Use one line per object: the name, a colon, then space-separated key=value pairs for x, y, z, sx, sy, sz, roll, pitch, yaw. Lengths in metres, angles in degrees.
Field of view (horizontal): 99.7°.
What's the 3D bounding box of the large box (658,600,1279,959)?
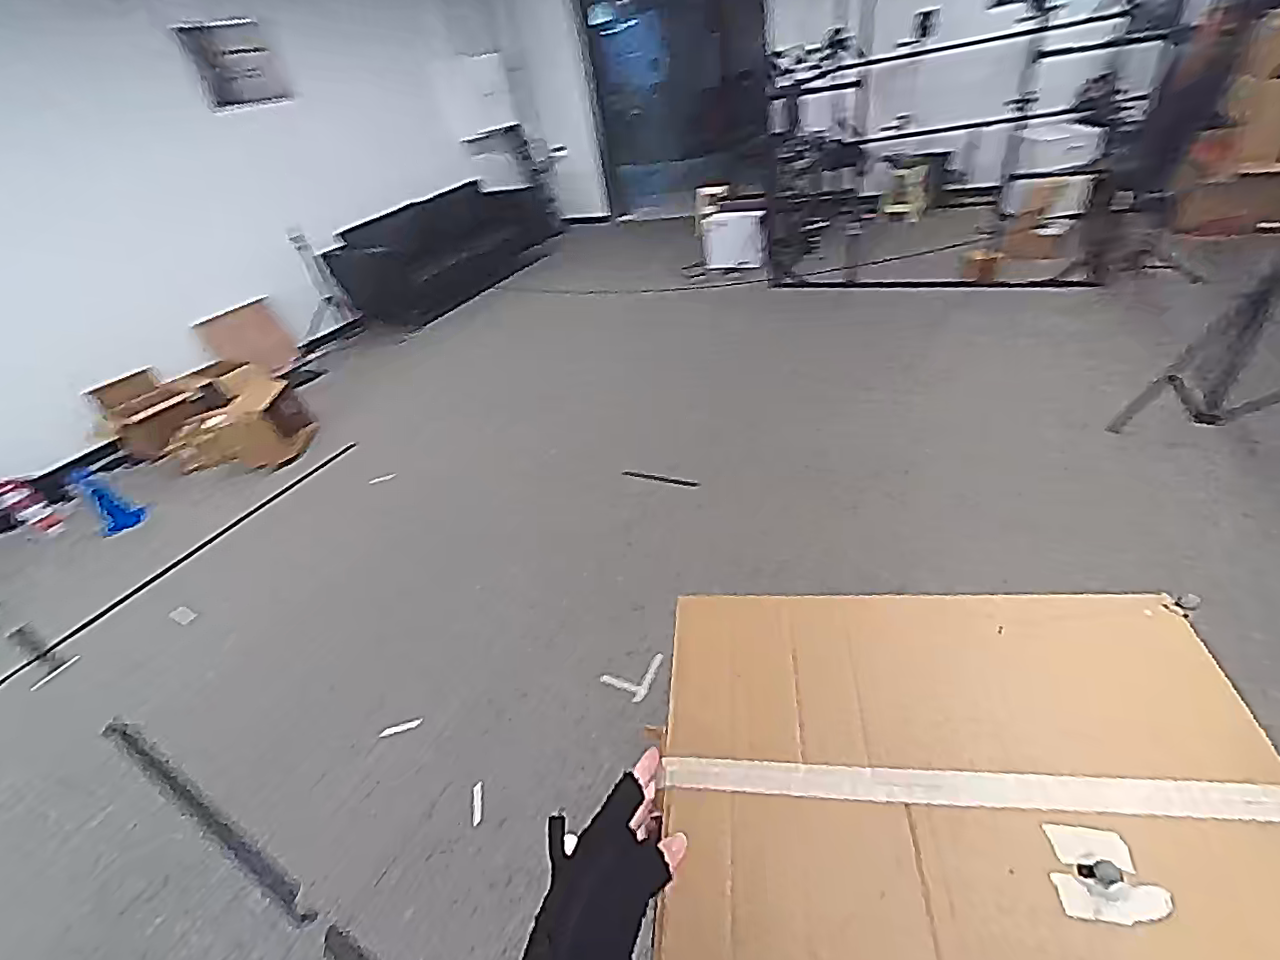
large box: x=0.235 y=0.327 z=0.487 sx=0.408 sy=0.320 sz=0.320 roll=-3 pitch=45 yaw=10
